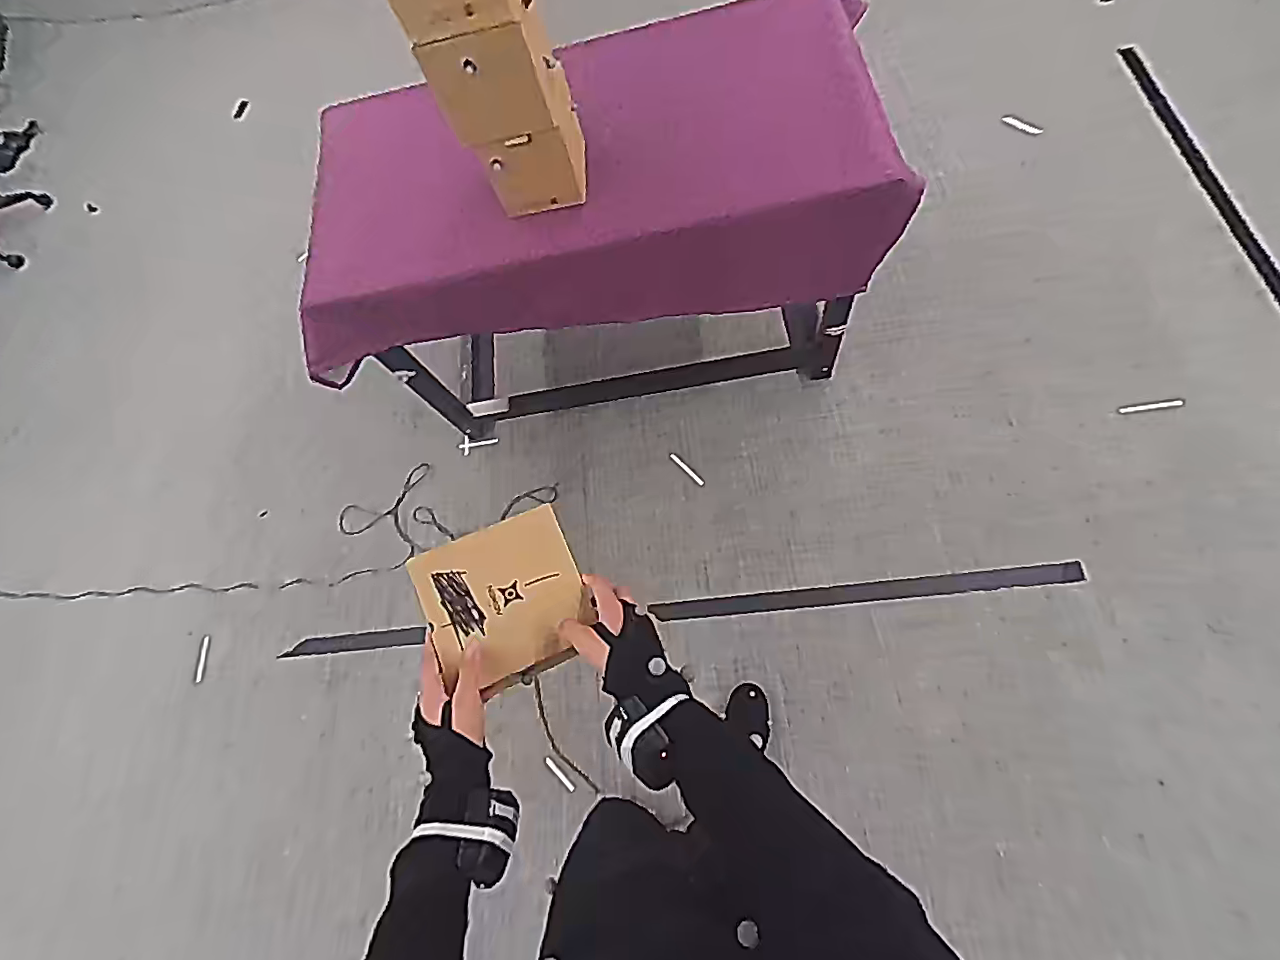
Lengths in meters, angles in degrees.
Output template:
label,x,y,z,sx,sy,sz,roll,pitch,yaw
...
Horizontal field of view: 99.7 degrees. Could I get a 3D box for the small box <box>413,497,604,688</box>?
label,x,y,z,sx,sy,sz,roll,pitch,yaw
small box,-0.152,0.148,0.677,0.179,0.176,0.168,-22,72,-11

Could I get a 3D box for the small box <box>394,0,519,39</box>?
label,x,y,z,sx,sy,sz,roll,pitch,yaw
small box,-0.274,-0.758,0.752,0.168,0.176,0.179,-7,68,8

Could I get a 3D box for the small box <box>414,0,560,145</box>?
label,x,y,z,sx,sy,sz,roll,pitch,yaw
small box,-0.245,-0.696,0.900,0.179,0.176,0.168,-6,69,8
